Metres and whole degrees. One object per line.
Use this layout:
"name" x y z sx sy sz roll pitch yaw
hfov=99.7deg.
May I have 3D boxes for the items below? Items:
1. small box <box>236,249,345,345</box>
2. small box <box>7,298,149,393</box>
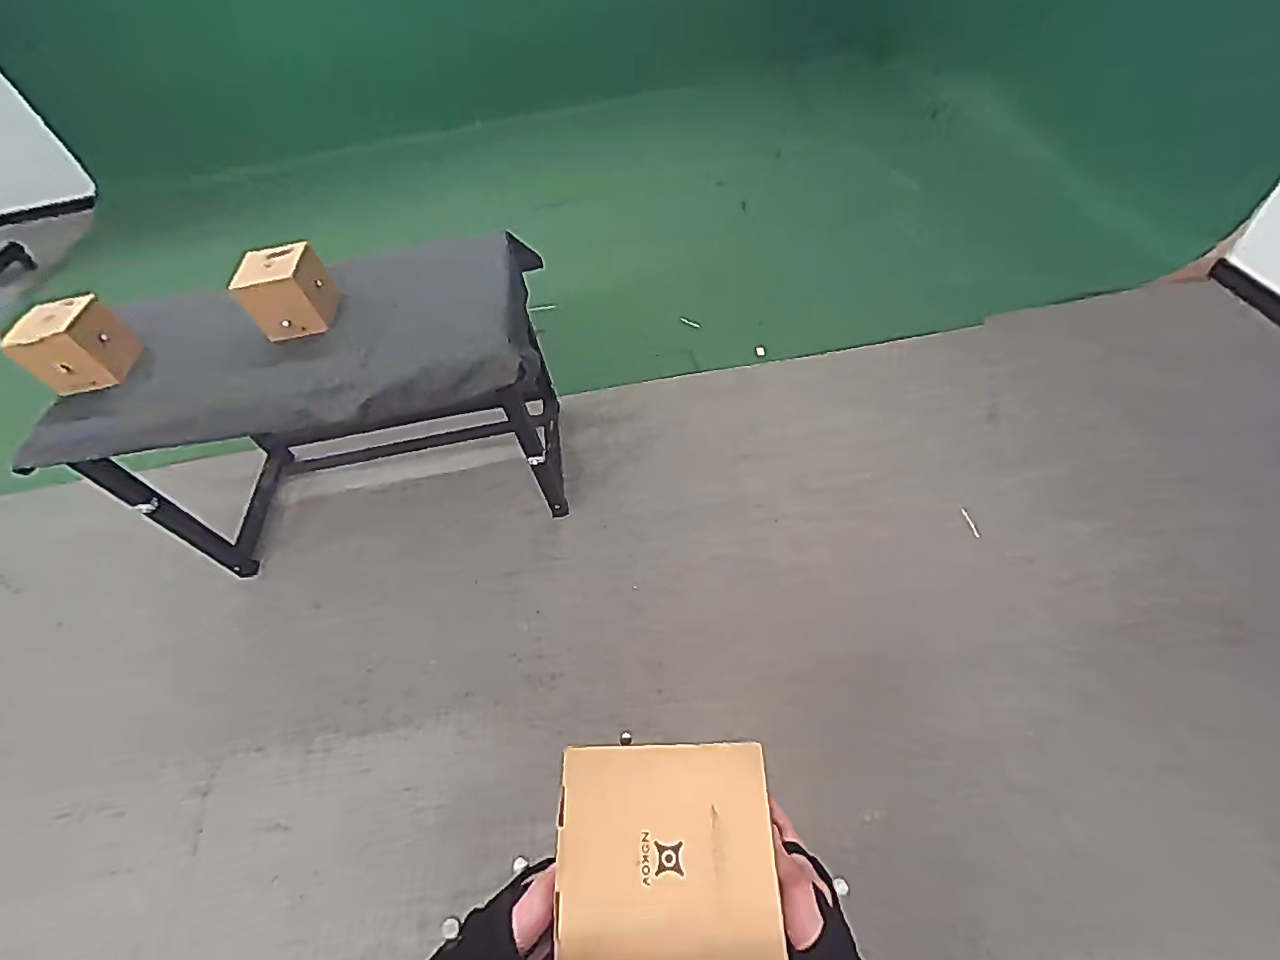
"small box" -0.929 -0.492 1.460 0.168 0.176 0.179 -10 53 0
"small box" -1.461 -0.346 1.424 0.168 0.176 0.179 -12 52 -2
